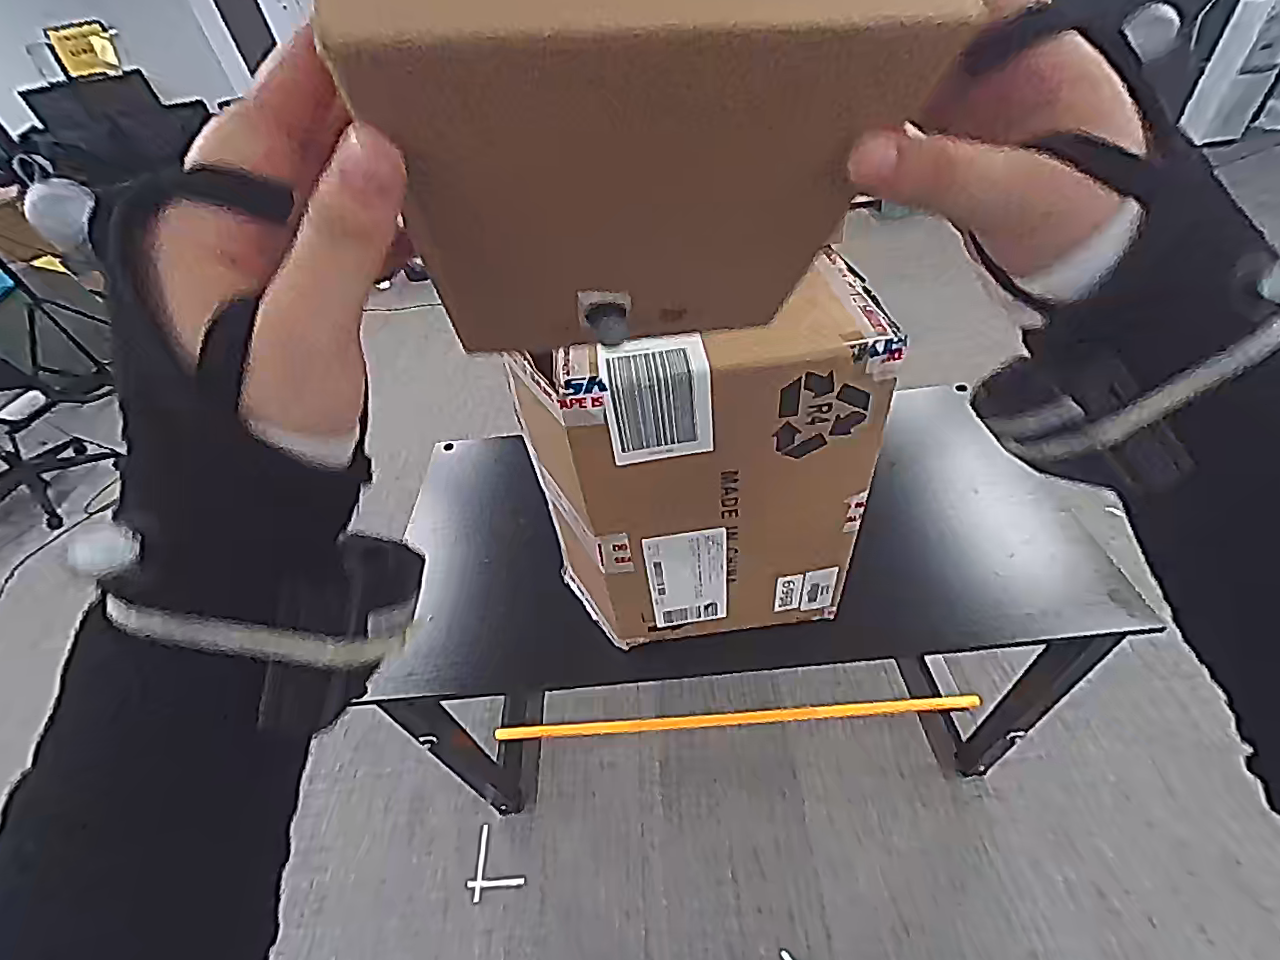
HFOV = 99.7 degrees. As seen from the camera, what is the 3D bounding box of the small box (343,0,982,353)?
[{"bbox_3d":[-0.010,-0.176,0.228,0.168,0.176,0.179,-9,78,-7],"label":"small box"}]
